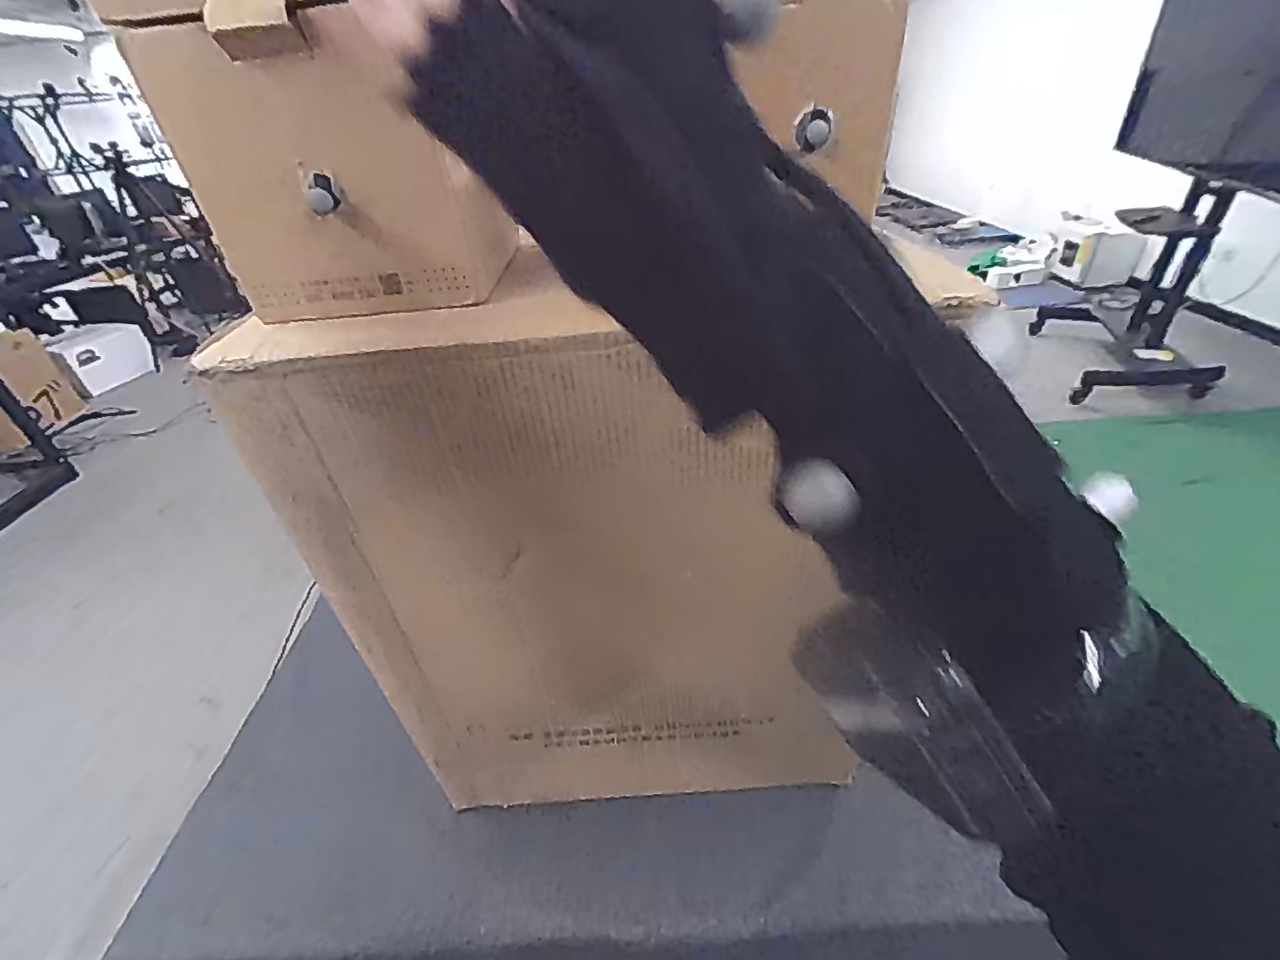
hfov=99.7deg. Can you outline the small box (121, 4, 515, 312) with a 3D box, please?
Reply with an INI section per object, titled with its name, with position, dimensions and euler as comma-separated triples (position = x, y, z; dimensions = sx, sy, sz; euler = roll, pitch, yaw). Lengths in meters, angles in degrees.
[small box]
position = -0.200, -0.234, 0.407
dimensions = 0.168, 0.176, 0.179
euler = -4, 38, 1
